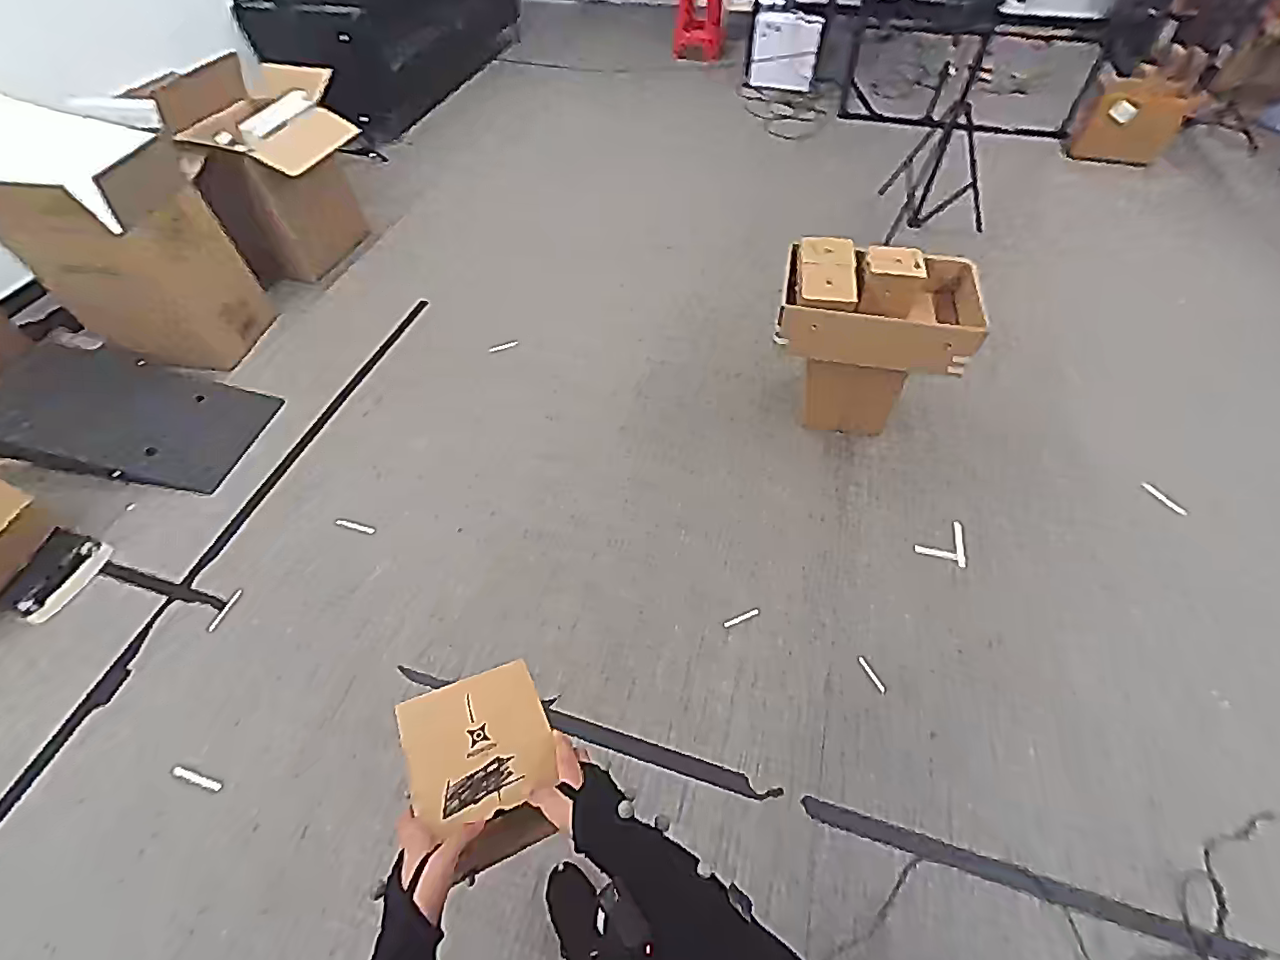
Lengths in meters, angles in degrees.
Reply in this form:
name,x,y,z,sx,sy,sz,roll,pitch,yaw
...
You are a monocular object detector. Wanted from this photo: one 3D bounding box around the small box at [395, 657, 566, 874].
name,x,y,z,sx,sy,sz,roll,pitch,yaw
small box,-0.200,0.369,0.695,0.168,0.176,0.179,-15,47,-24
